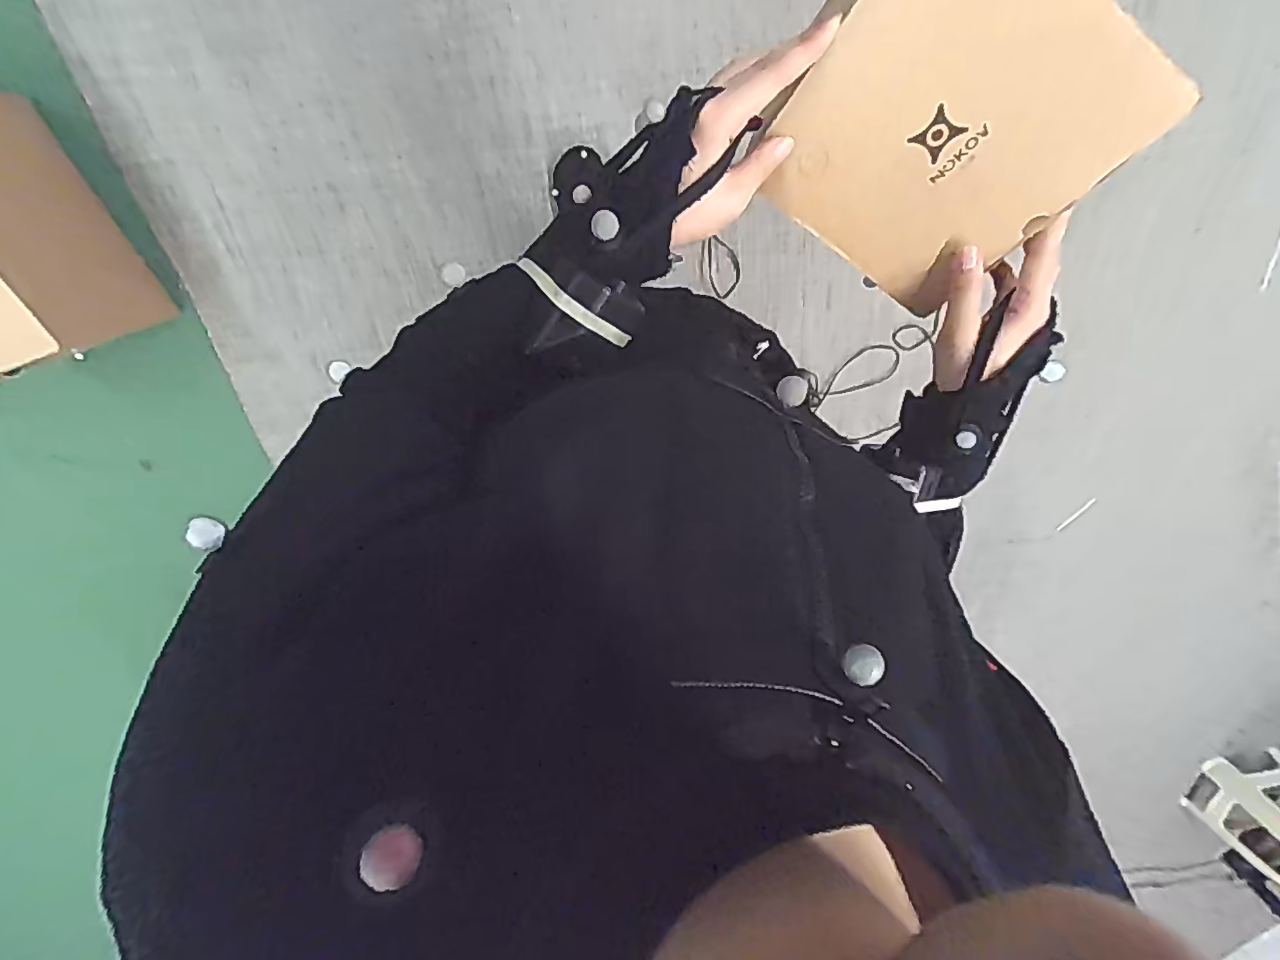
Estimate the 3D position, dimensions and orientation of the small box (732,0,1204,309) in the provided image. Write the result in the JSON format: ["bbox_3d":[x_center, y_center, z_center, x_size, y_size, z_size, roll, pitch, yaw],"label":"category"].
[{"bbox_3d":[0.186,-0.257,0.353,0.179,0.176,0.168,30,139,-15],"label":"small box"}]
